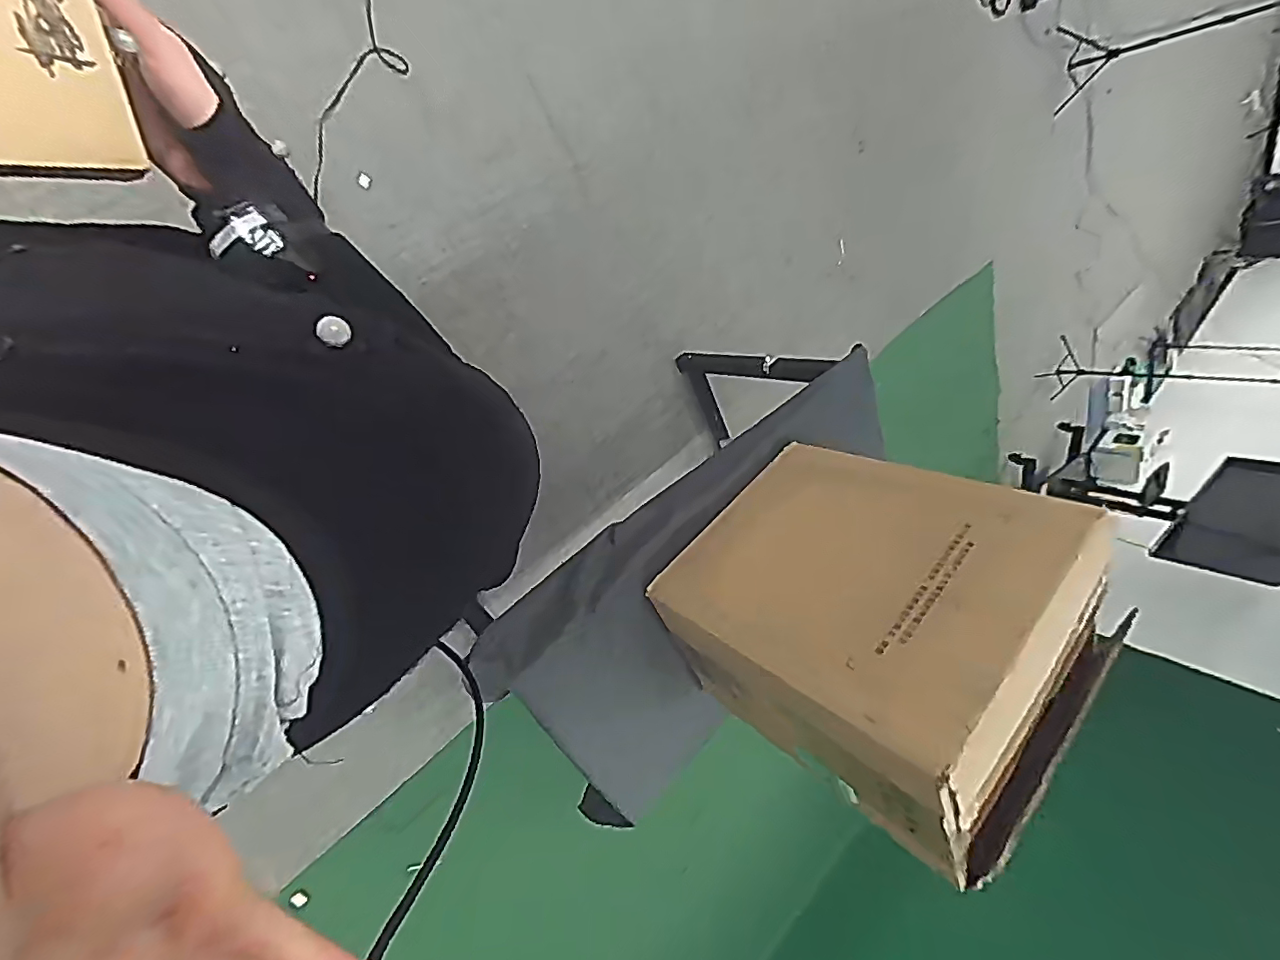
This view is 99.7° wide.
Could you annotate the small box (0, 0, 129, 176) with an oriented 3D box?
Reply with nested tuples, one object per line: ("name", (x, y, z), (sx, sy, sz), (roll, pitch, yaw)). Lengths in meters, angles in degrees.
("small box", (-0.403, -0.255, 0.276), (0.179, 0.176, 0.168), (-20, 124, -36))
